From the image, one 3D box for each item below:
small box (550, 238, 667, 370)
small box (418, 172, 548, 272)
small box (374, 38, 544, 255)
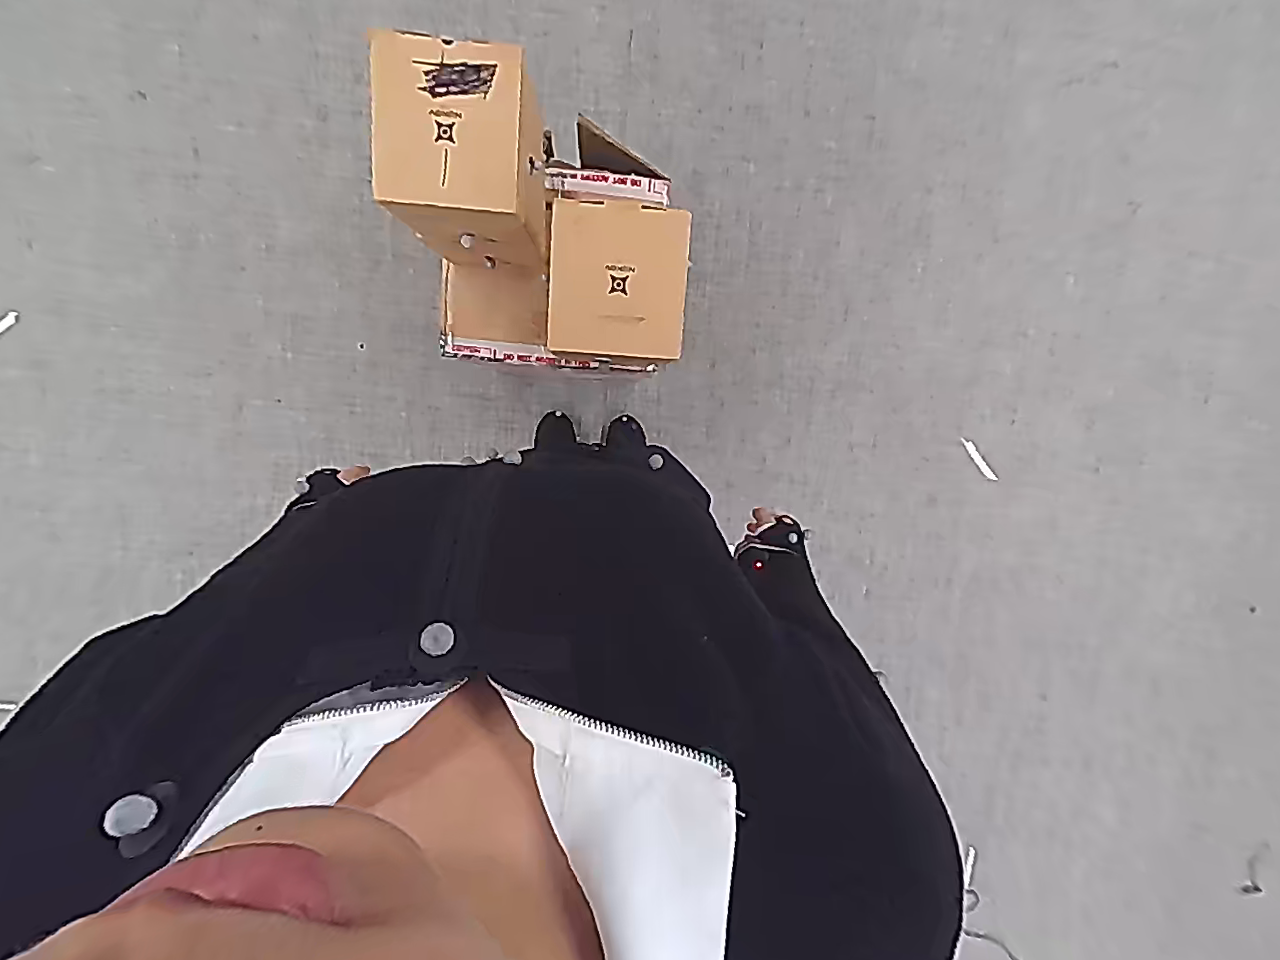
[{"bbox_3d":[-0.053,-0.275,0.885,0.168,0.176,0.179,4,99,-5],"label":"small box"},{"bbox_3d":[-0.239,-0.437,0.847,0.168,0.176,0.179,1,100,-2],"label":"small box"},{"bbox_3d":[-0.218,-0.404,0.686,0.168,0.176,0.179,5,100,-3],"label":"small box"}]
